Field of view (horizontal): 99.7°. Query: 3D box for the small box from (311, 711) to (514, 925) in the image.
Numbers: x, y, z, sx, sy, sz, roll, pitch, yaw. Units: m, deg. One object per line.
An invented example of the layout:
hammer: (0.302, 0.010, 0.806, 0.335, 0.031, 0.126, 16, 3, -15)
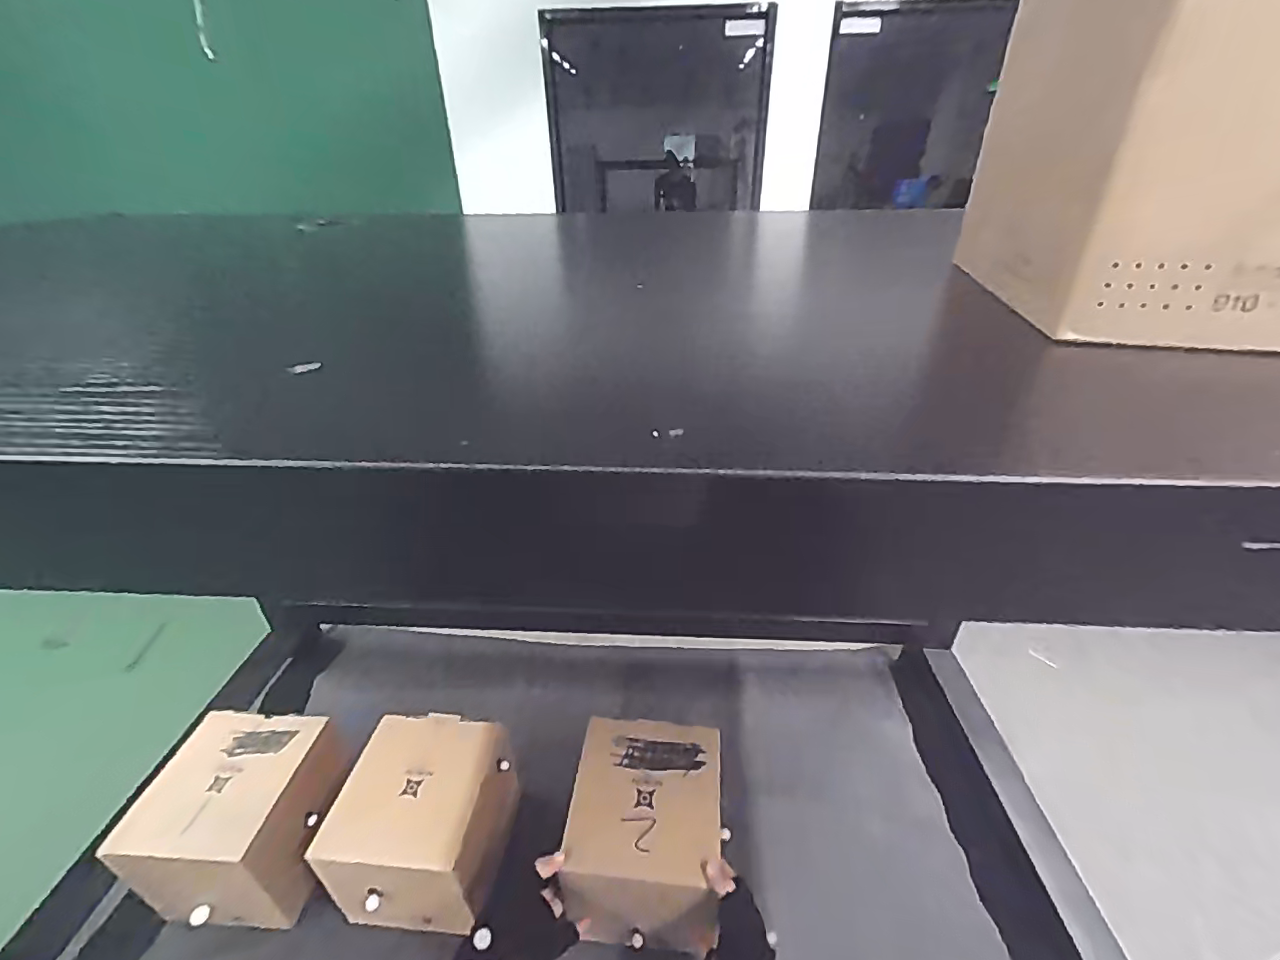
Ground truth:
small box: (-0.267, 0.426, 0.688, 0.168, 0.176, 0.179, 2, 30, 4)

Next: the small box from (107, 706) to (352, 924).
small box: (-0.495, 0.423, 0.694, 0.168, 0.176, 0.179, 2, 31, 3)
